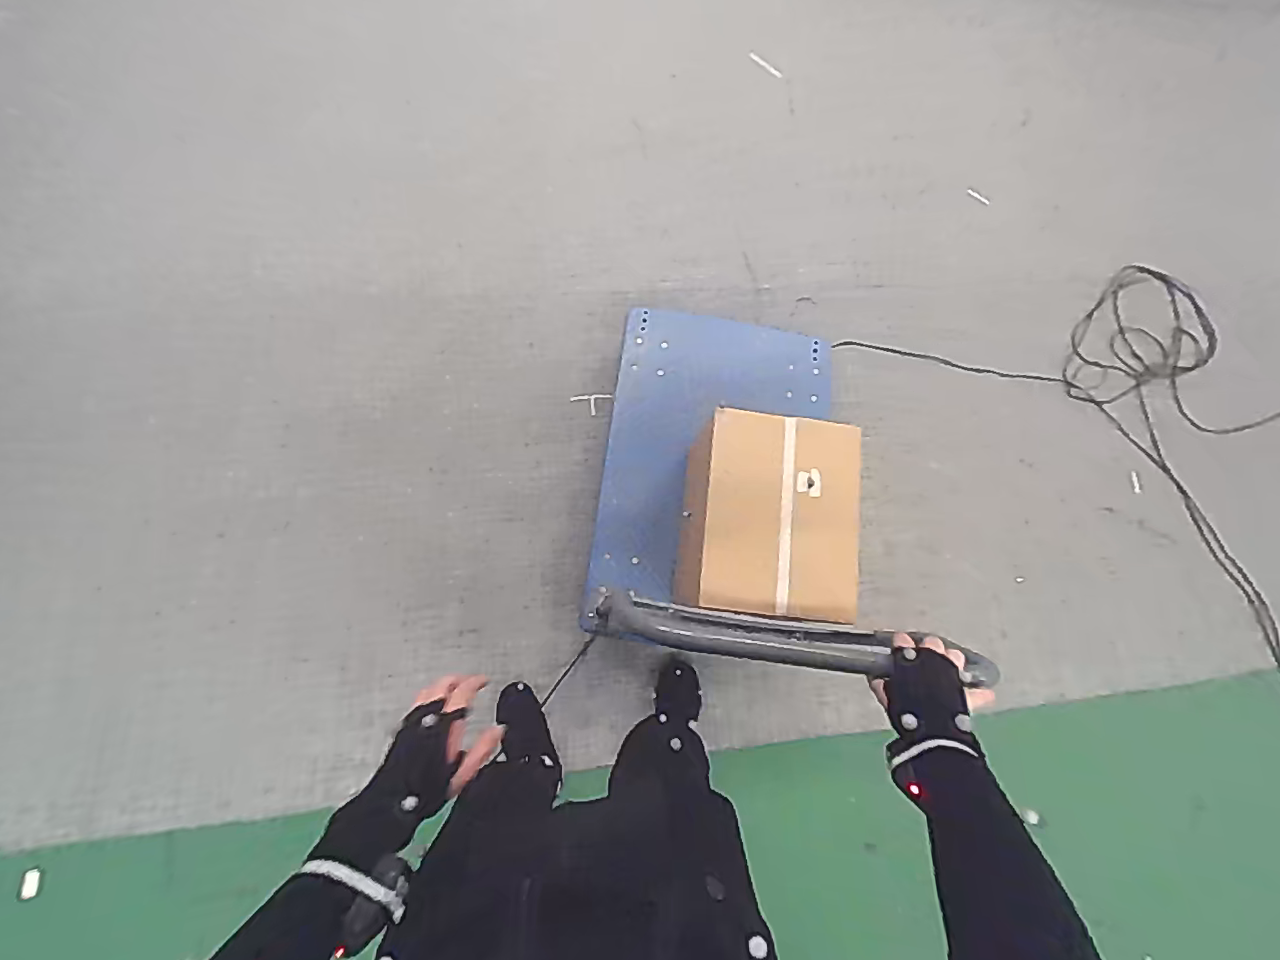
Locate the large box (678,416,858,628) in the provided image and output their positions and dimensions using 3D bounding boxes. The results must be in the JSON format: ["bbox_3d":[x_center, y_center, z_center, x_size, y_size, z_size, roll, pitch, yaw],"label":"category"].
[{"bbox_3d":[0.270,0.113,1.215,0.320,0.320,0.408,8,76,-5],"label":"large box"}]
